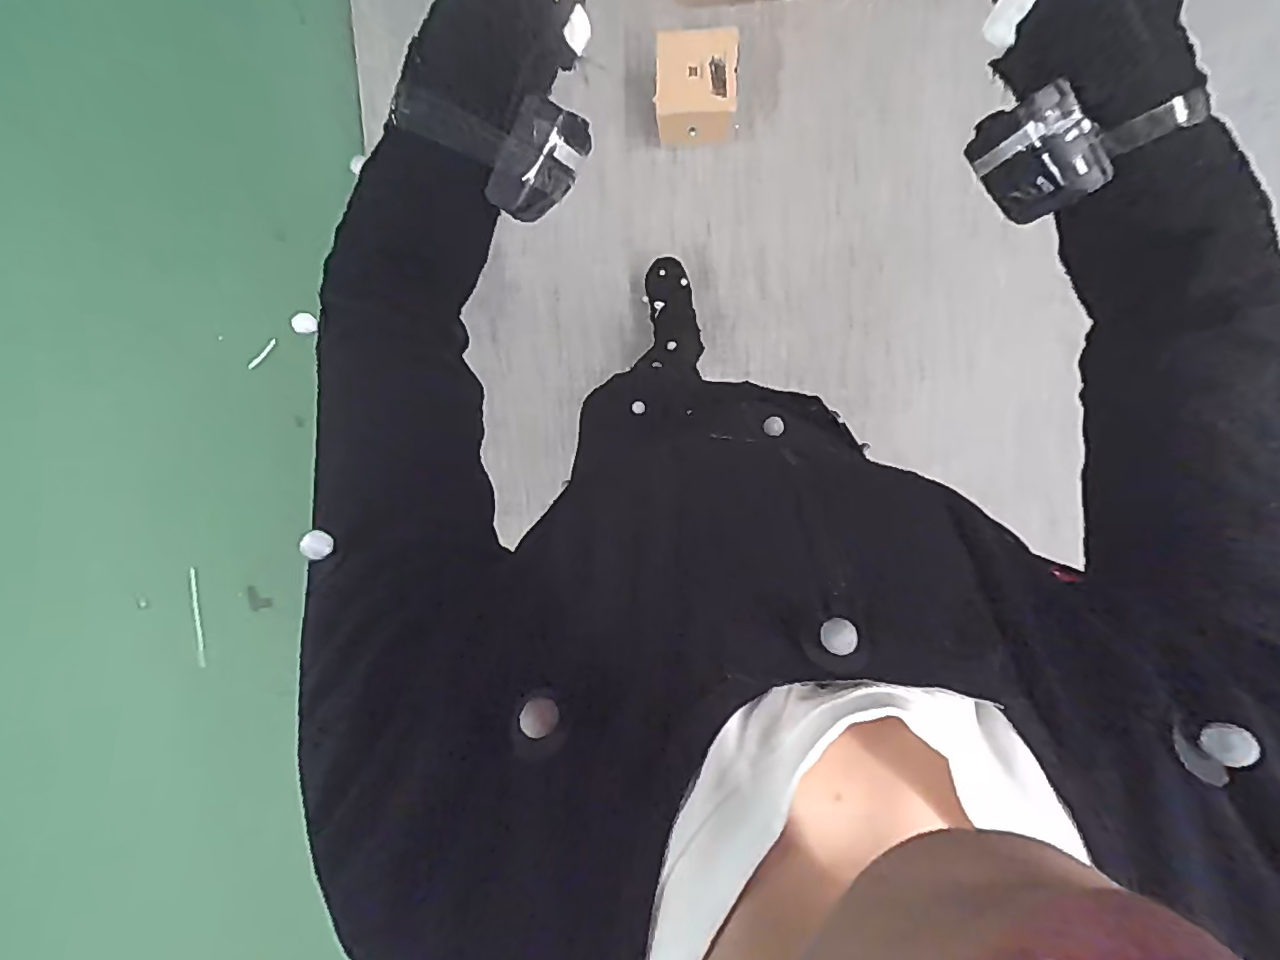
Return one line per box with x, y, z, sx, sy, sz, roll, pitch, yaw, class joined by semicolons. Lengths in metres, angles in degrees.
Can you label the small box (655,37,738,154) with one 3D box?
0.129;-0.878;1.248;0.179;0.176;0.168;2;98;6;small box
